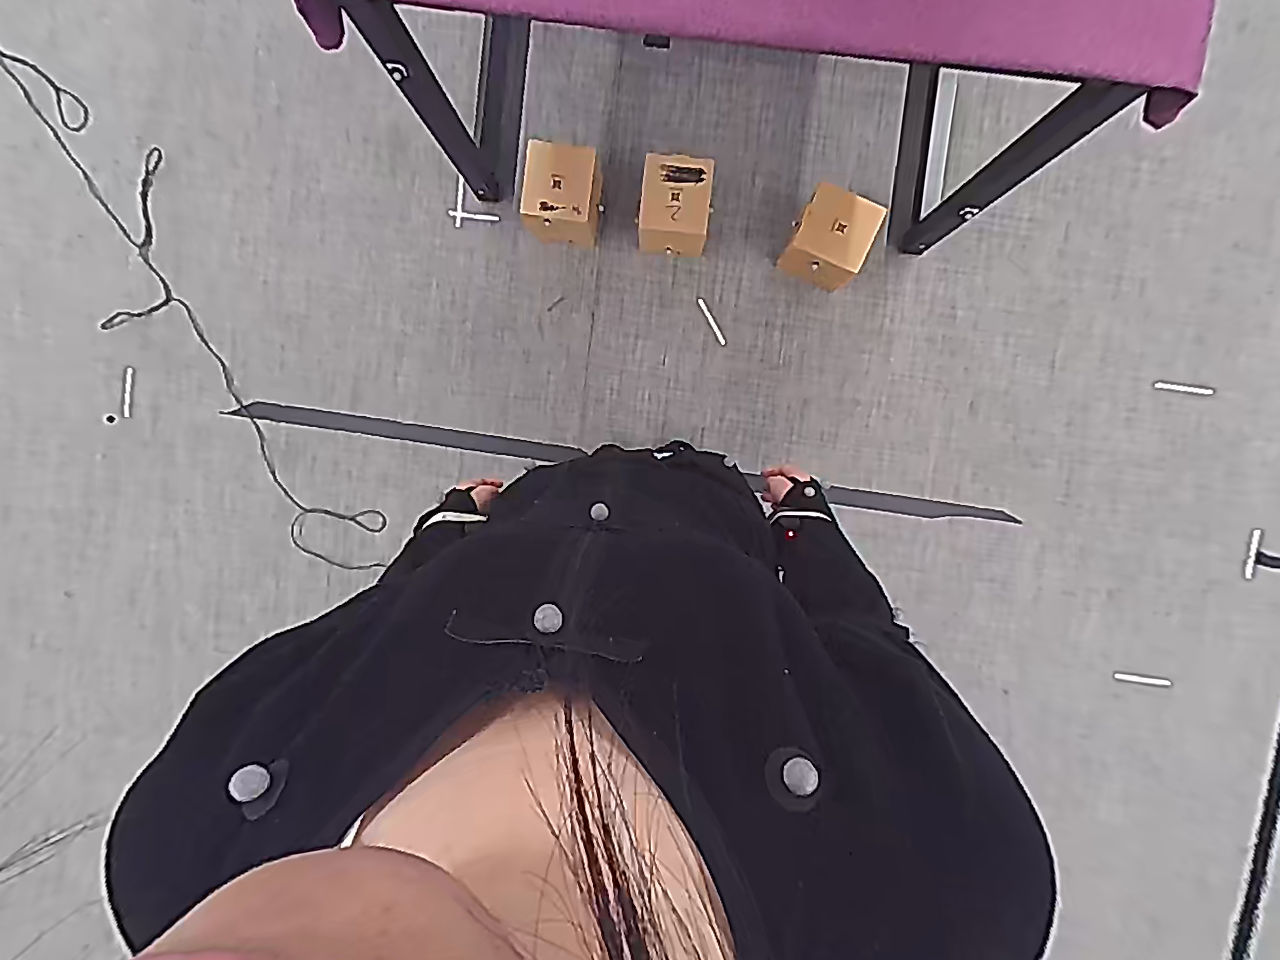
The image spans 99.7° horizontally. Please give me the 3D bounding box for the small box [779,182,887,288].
[{"bbox_3d":[0.474,-0.602,1.356,0.179,0.176,0.168,25,95,1],"label":"small box"}]

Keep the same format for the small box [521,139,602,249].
[{"bbox_3d":[-0.191,-0.713,1.363,0.168,0.176,0.179,9,93,1],"label":"small box"}]
